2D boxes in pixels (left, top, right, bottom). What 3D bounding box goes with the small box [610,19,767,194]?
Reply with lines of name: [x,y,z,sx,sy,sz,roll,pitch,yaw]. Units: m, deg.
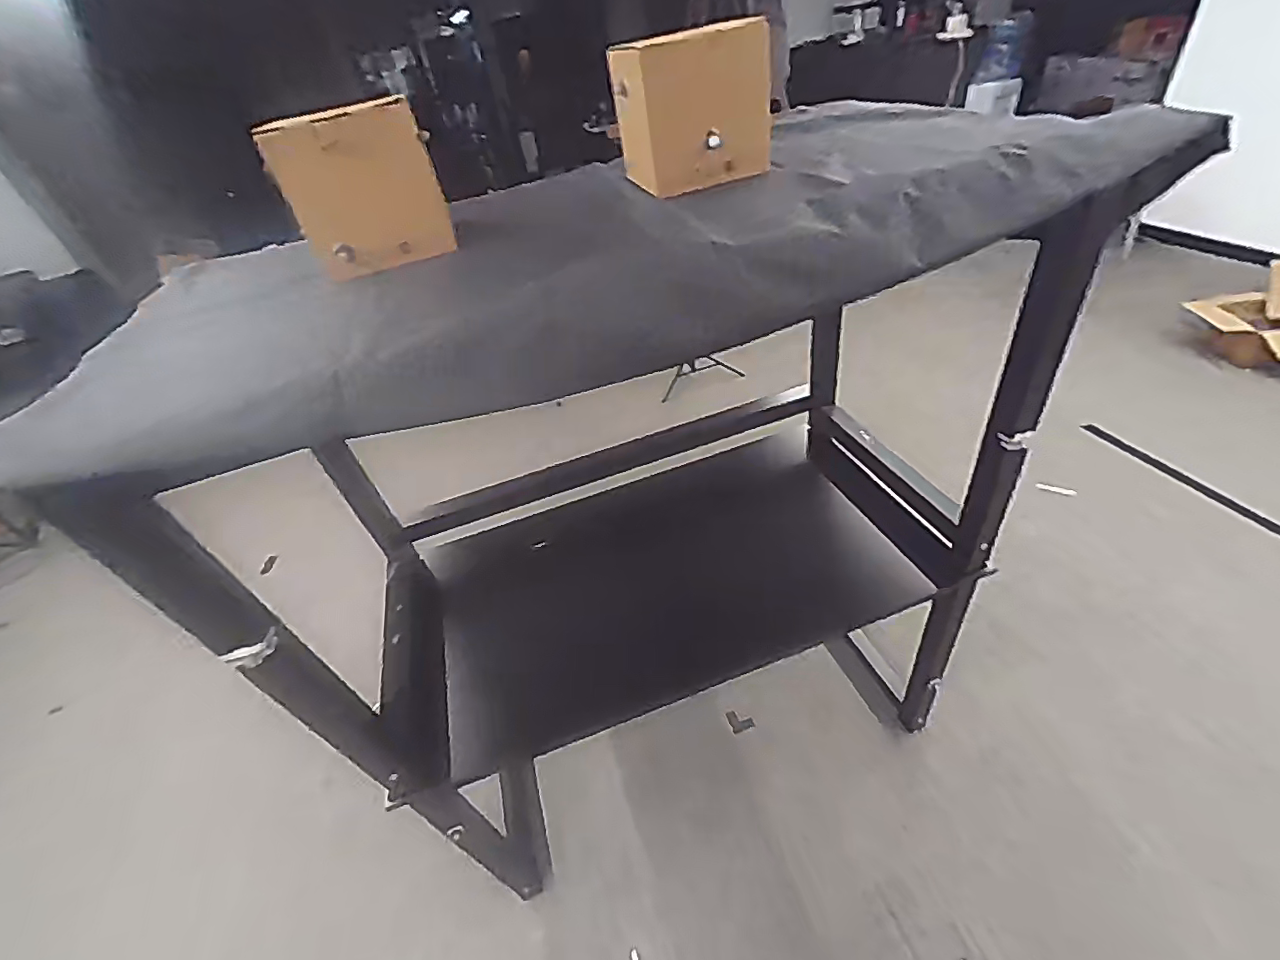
small box: [0.066,-0.519,0.760,0.168,0.176,0.179,-18,40,-5]

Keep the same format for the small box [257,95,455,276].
small box: [-0.355,-0.387,0.715,0.168,0.176,0.179,-18,39,-8]
